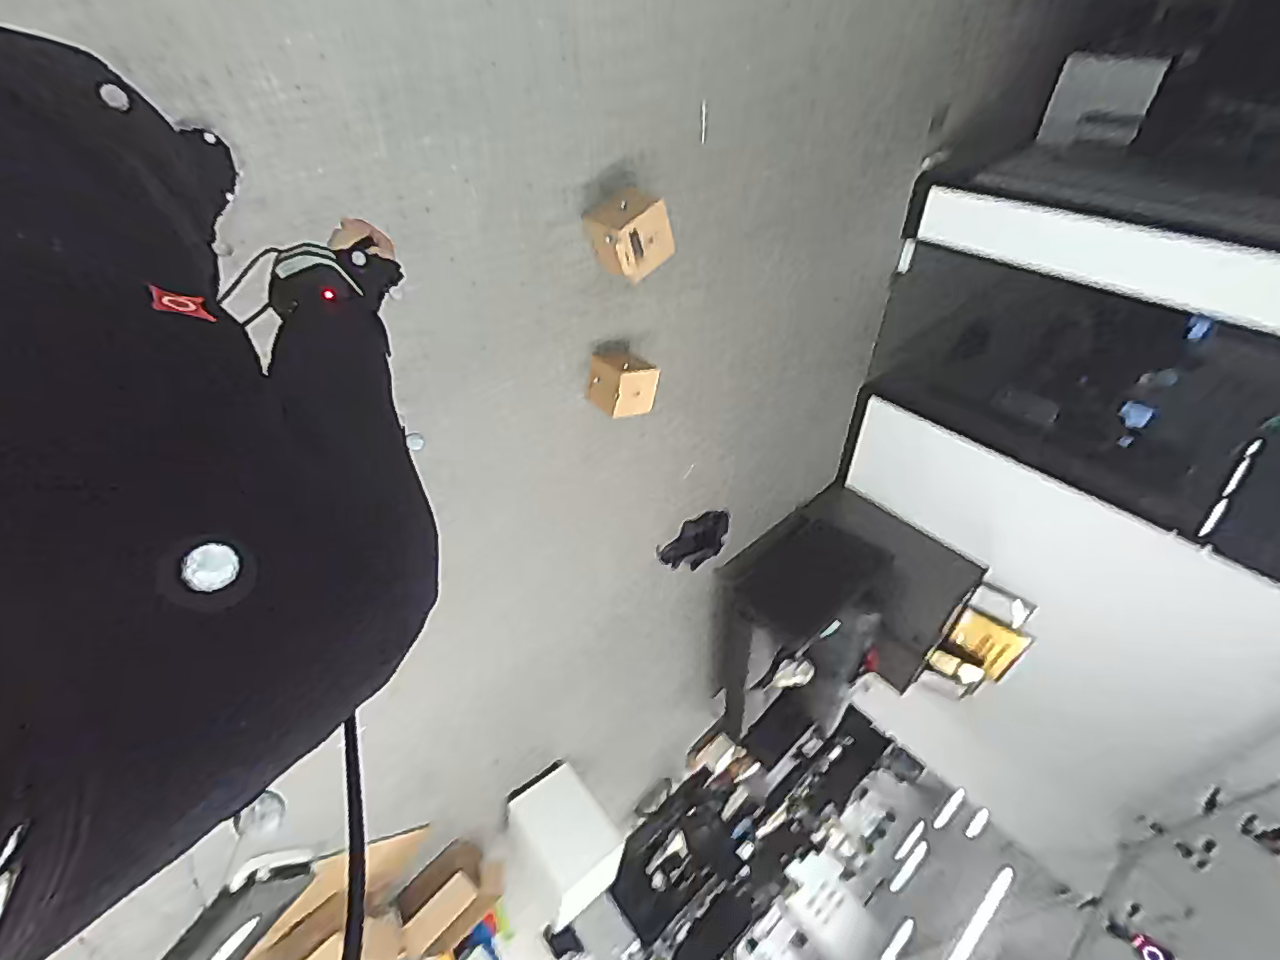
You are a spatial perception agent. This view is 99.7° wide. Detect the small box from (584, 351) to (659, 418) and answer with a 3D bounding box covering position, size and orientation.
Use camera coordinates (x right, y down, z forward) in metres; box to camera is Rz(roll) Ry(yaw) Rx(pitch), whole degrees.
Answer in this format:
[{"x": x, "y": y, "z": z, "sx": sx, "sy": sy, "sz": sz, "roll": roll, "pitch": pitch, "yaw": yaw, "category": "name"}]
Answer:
[{"x": -0.065, "y": -0.333, "z": 1.857, "sx": 0.179, "sy": 0.176, "sz": 0.168, "roll": -17, "pitch": 133, "yaw": -39, "category": "small box"}]
